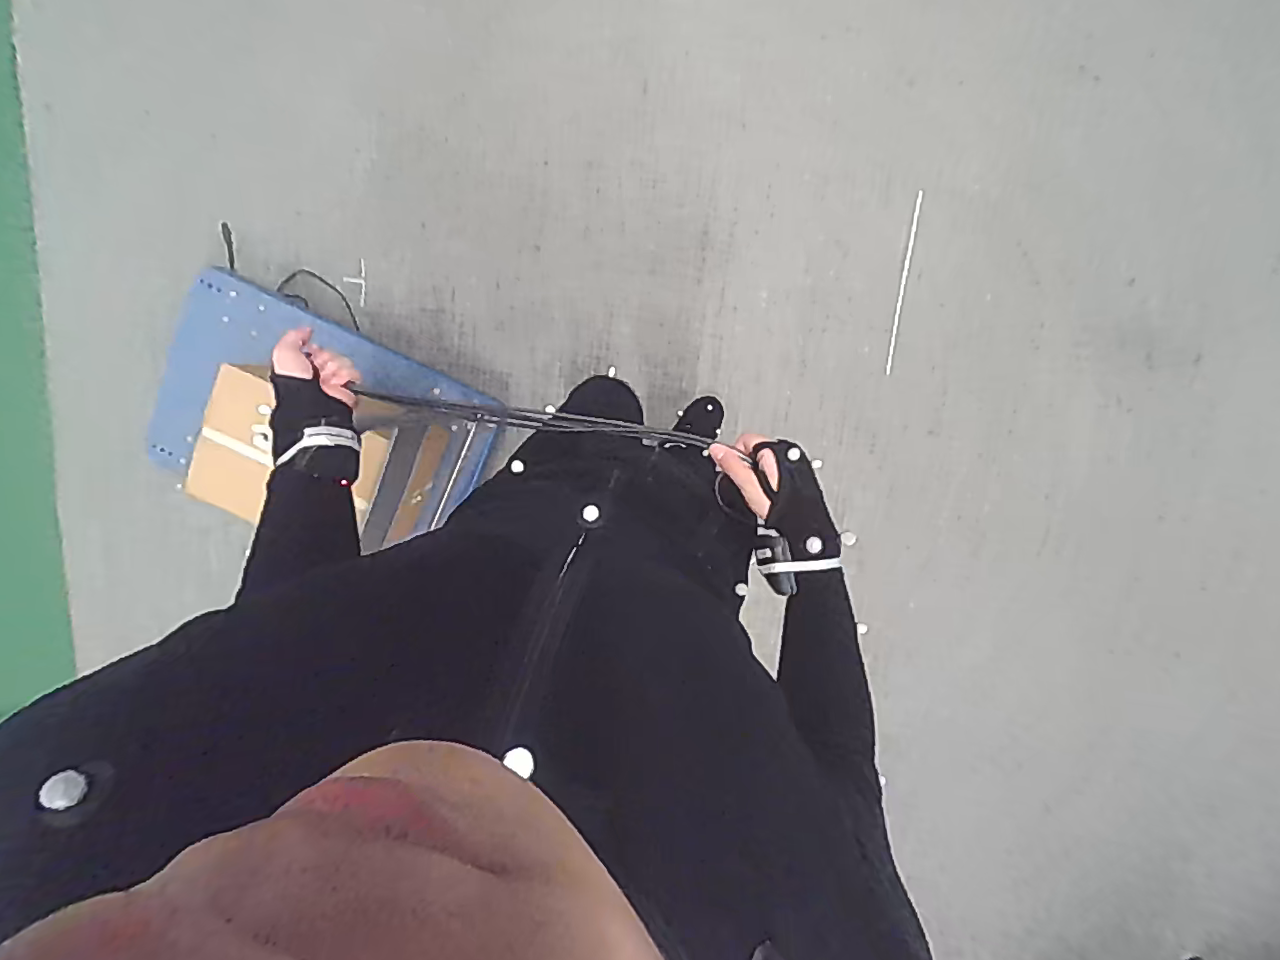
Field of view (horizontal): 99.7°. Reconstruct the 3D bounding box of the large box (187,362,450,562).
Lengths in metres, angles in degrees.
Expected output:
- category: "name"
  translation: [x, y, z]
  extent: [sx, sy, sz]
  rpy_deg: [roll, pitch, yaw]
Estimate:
- category: "large box"
  translation: [-0.745, -0.058, 1.309]
  extent: [0.408, 0.320, 0.320]
  rpy_deg: [26, 100, -1]
